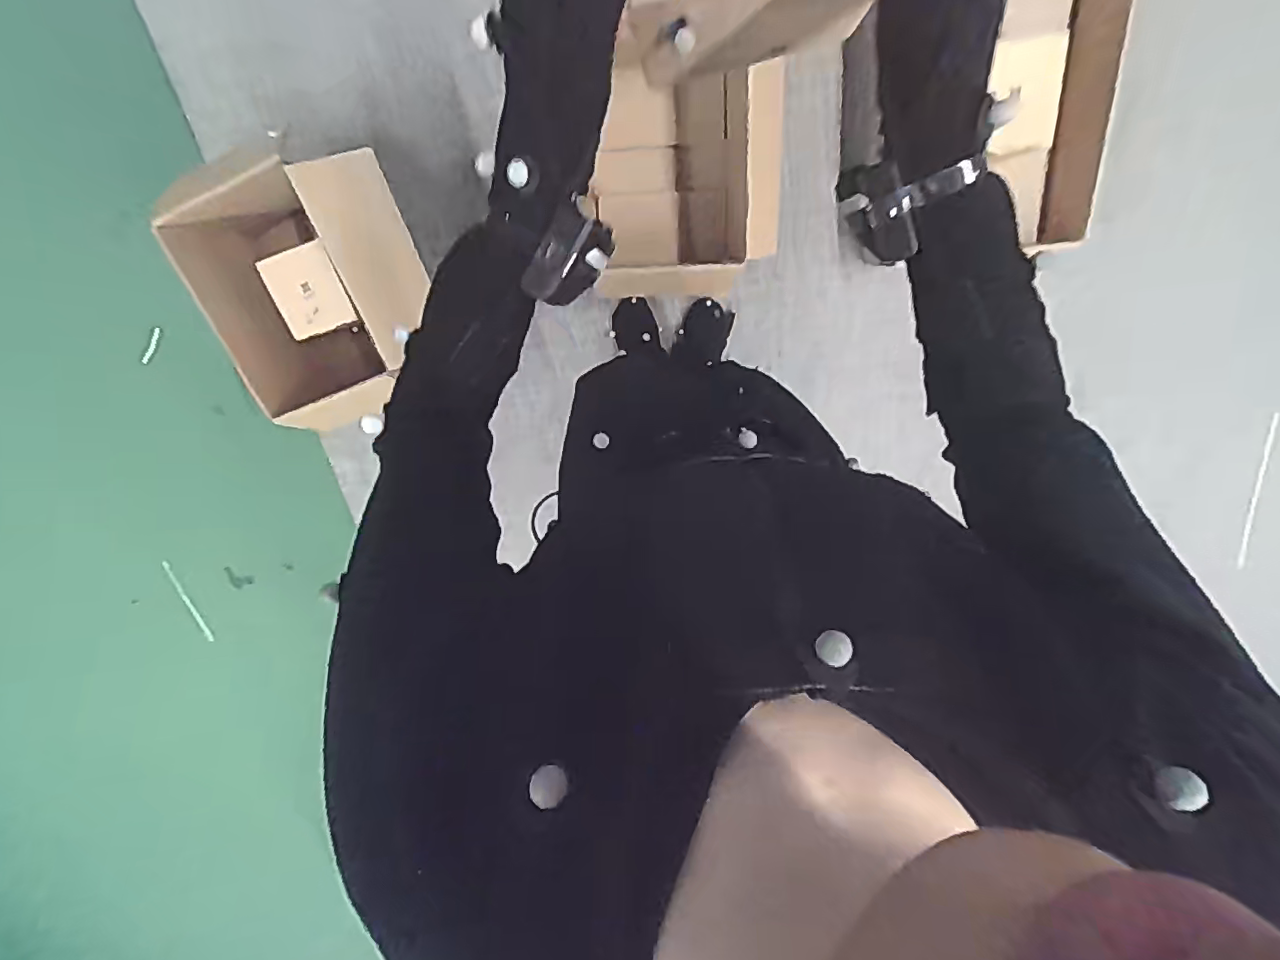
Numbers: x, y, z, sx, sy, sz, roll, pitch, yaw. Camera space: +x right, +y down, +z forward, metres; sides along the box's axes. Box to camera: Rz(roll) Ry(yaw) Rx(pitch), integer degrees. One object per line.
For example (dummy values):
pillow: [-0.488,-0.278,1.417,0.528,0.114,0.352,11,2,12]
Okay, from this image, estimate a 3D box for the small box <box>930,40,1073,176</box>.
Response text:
small box: [0.693,-0.715,1.059,0.168,0.176,0.179,-5,111,4]
